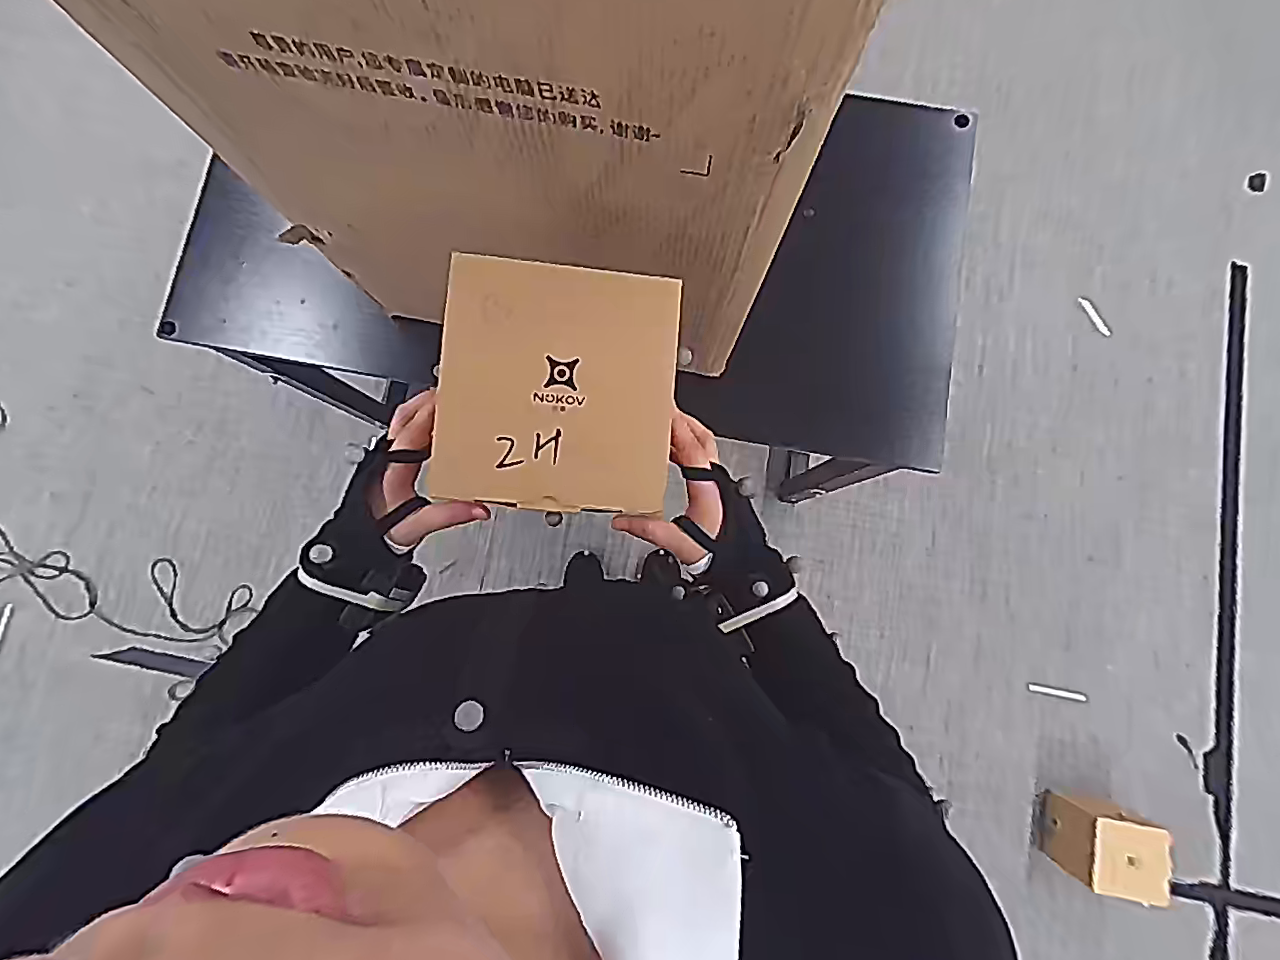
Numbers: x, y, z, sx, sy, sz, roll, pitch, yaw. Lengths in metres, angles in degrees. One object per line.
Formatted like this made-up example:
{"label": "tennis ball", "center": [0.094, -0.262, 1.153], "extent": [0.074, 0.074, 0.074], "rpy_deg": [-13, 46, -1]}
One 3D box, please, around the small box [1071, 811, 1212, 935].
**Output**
{"label": "small box", "center": [1.166, 0.909, 1.266], "extent": [0.179, 0.176, 0.168], "rpy_deg": [9, 82, 2]}
